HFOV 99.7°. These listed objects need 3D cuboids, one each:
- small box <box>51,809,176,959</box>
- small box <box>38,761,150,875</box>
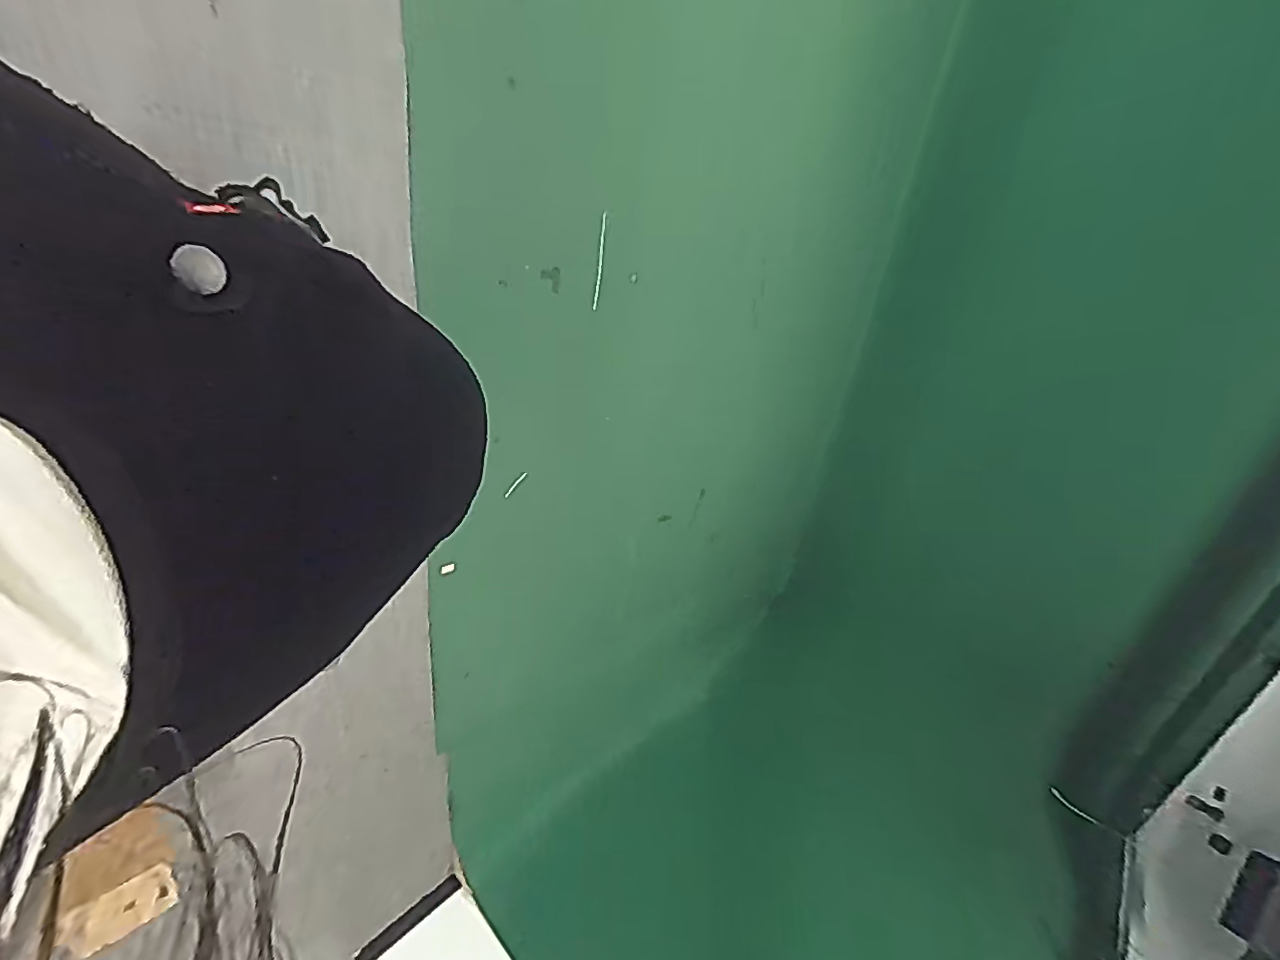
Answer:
[{"bbox_3d":[-1.176,0.894,1.208,0.179,0.176,0.168,-14,124,-47],"label":"small box"},{"bbox_3d":[-1.298,0.828,1.296,0.179,0.176,0.168,-18,127,-47],"label":"small box"}]
